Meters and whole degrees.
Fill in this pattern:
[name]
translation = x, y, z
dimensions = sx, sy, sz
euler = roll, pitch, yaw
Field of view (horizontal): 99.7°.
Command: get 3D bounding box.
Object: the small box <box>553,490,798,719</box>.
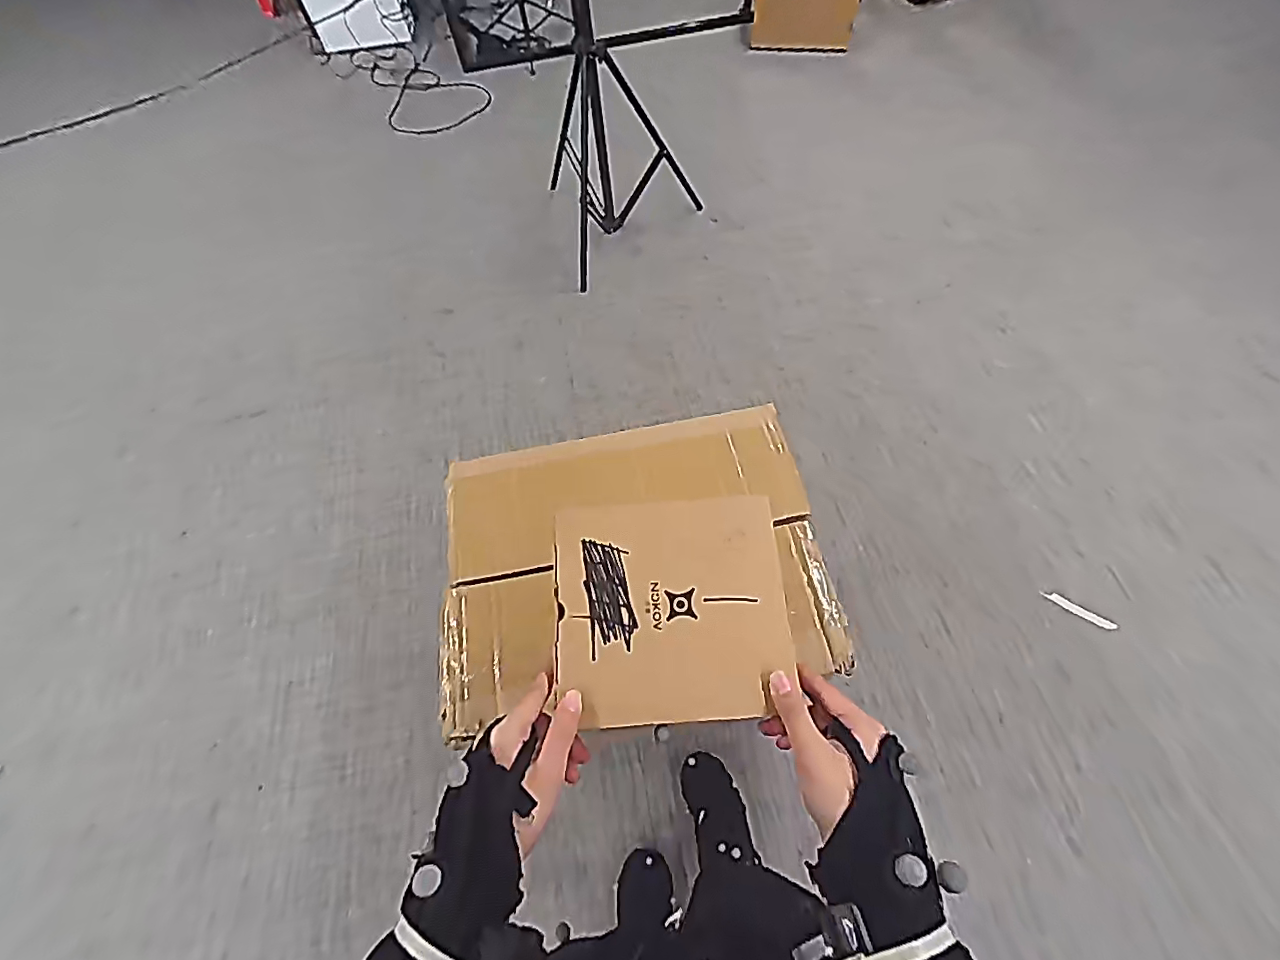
[small box]
translation = 0.025, 0.120, 0.483
dimensions = 0.179, 0.176, 0.168
euler = -4, 67, 0
